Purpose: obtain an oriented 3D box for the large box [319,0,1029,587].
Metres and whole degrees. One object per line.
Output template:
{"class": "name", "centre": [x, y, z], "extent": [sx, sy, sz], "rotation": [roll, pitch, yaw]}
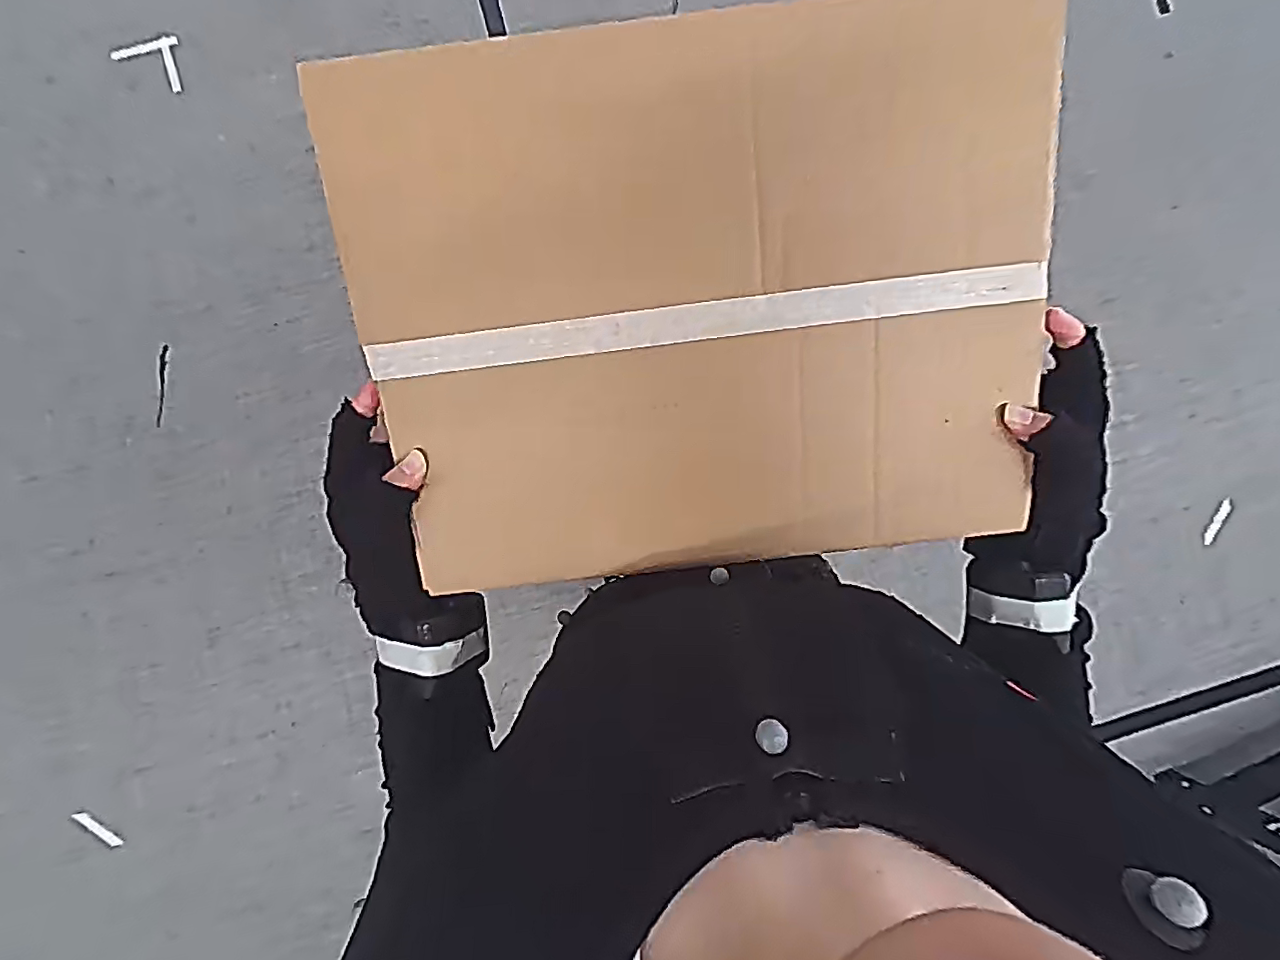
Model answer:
{"class": "large box", "centre": [0.030, -0.133, 0.477], "extent": [0.408, 0.320, 0.320], "rotation": [-7, 106, 1]}
